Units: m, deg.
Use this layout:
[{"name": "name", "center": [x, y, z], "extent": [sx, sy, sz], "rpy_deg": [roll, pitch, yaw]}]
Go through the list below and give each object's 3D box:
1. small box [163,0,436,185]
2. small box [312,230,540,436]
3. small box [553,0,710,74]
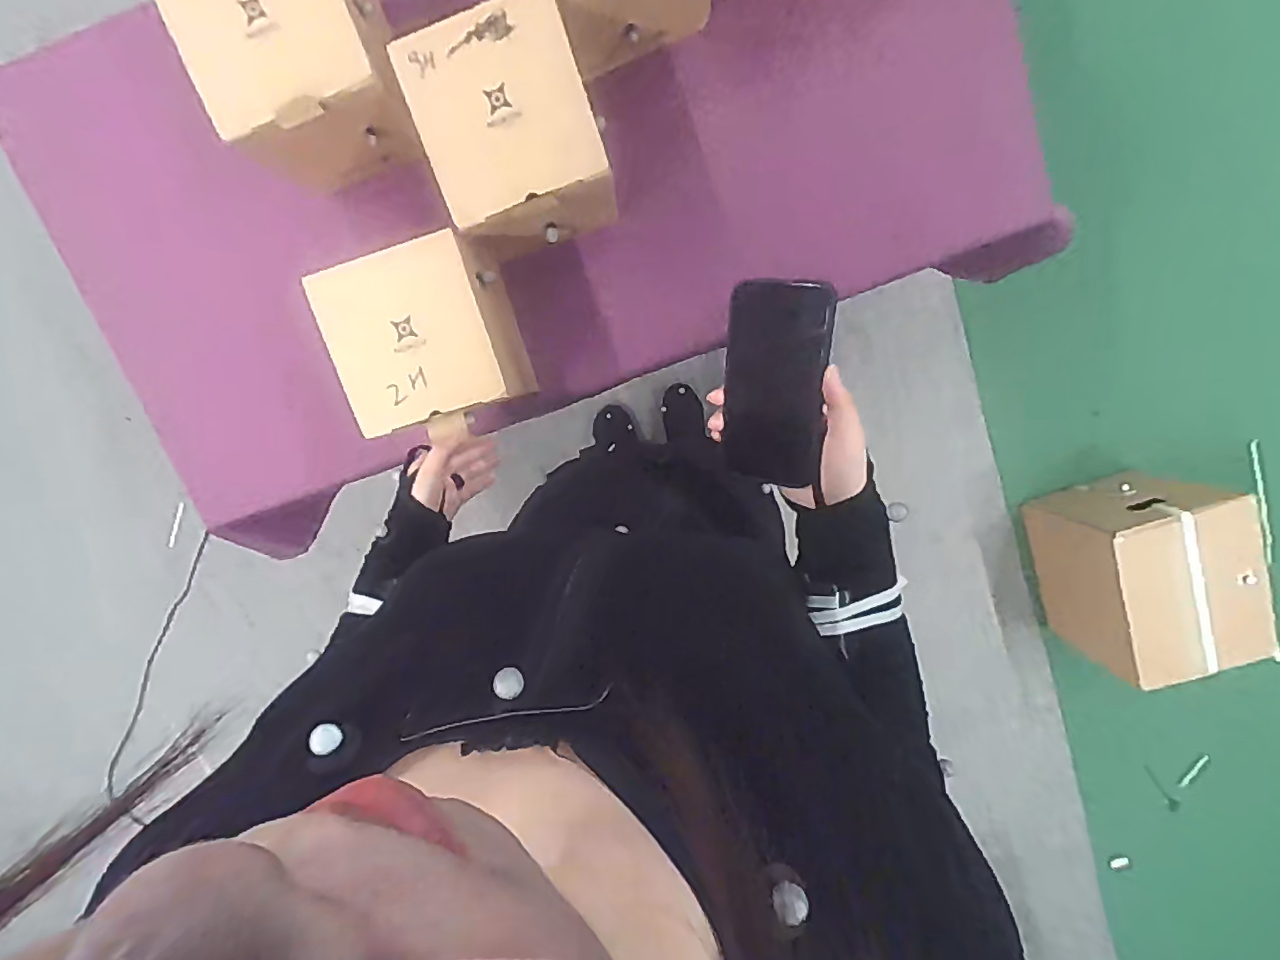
[{"name": "small box", "center": [-0.351, -0.448, 0.584], "extent": [0.168, 0.176, 0.179], "rpy_deg": [-20, 100, 4]}, {"name": "small box", "center": [-0.233, -0.163, 0.638], "extent": [0.168, 0.176, 0.179], "rpy_deg": [-16, 100, 5]}, {"name": "small box", "center": [-0.027, -0.575, 0.552], "extent": [0.168, 0.176, 0.179], "rpy_deg": [-21, 102, 5]}]
